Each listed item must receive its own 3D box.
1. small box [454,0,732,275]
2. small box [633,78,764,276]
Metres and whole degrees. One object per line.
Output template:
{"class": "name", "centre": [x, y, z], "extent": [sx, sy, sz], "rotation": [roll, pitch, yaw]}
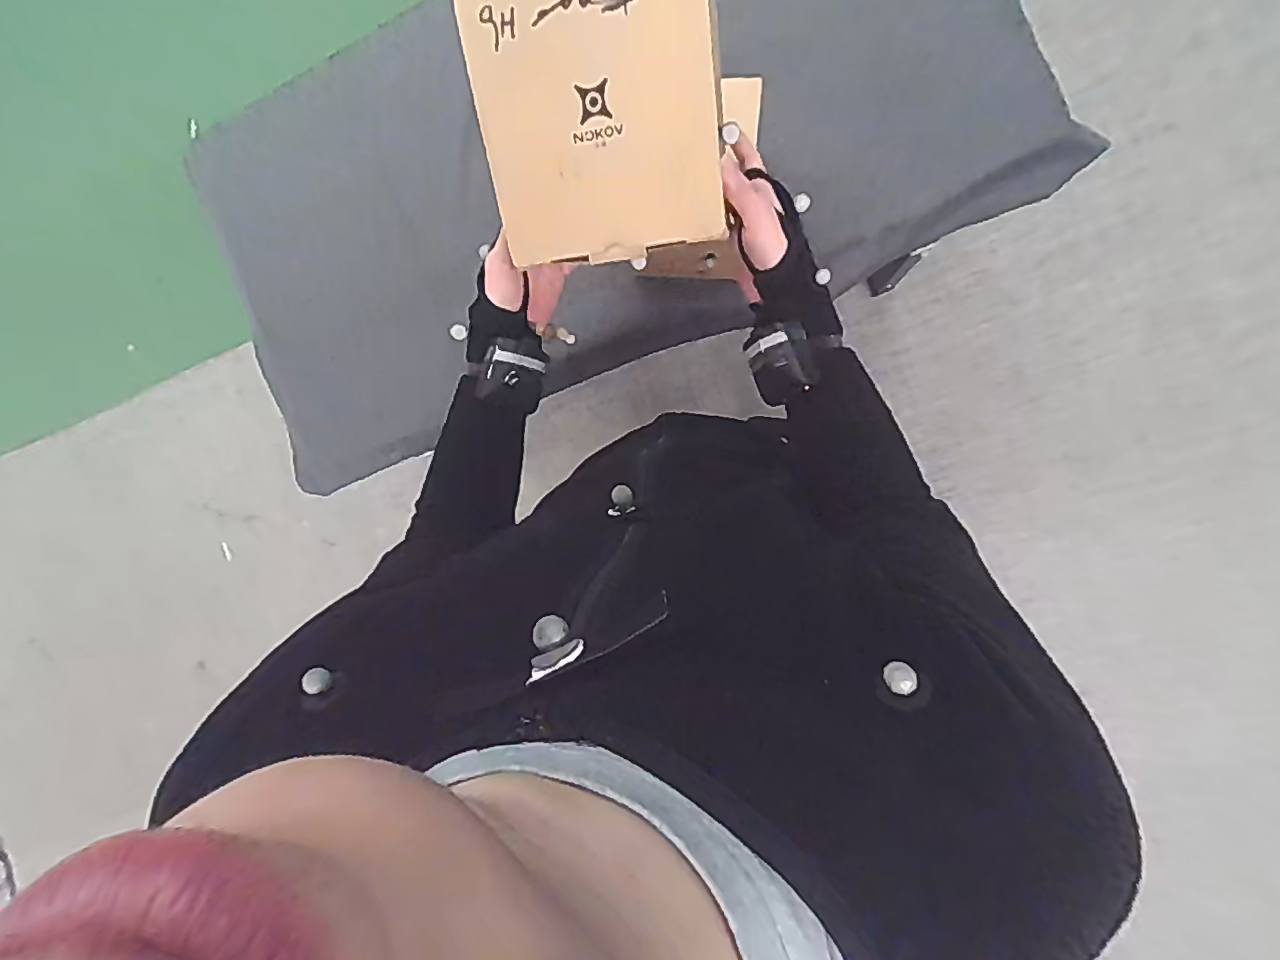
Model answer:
{"class": "small box", "centre": [-0.015, -0.277, 0.436], "extent": [0.168, 0.176, 0.179], "rotation": [-4, 116, 12]}
{"class": "small box", "centre": [0.067, -0.380, 0.709], "extent": [0.168, 0.176, 0.179], "rotation": [5, 92, 8]}
